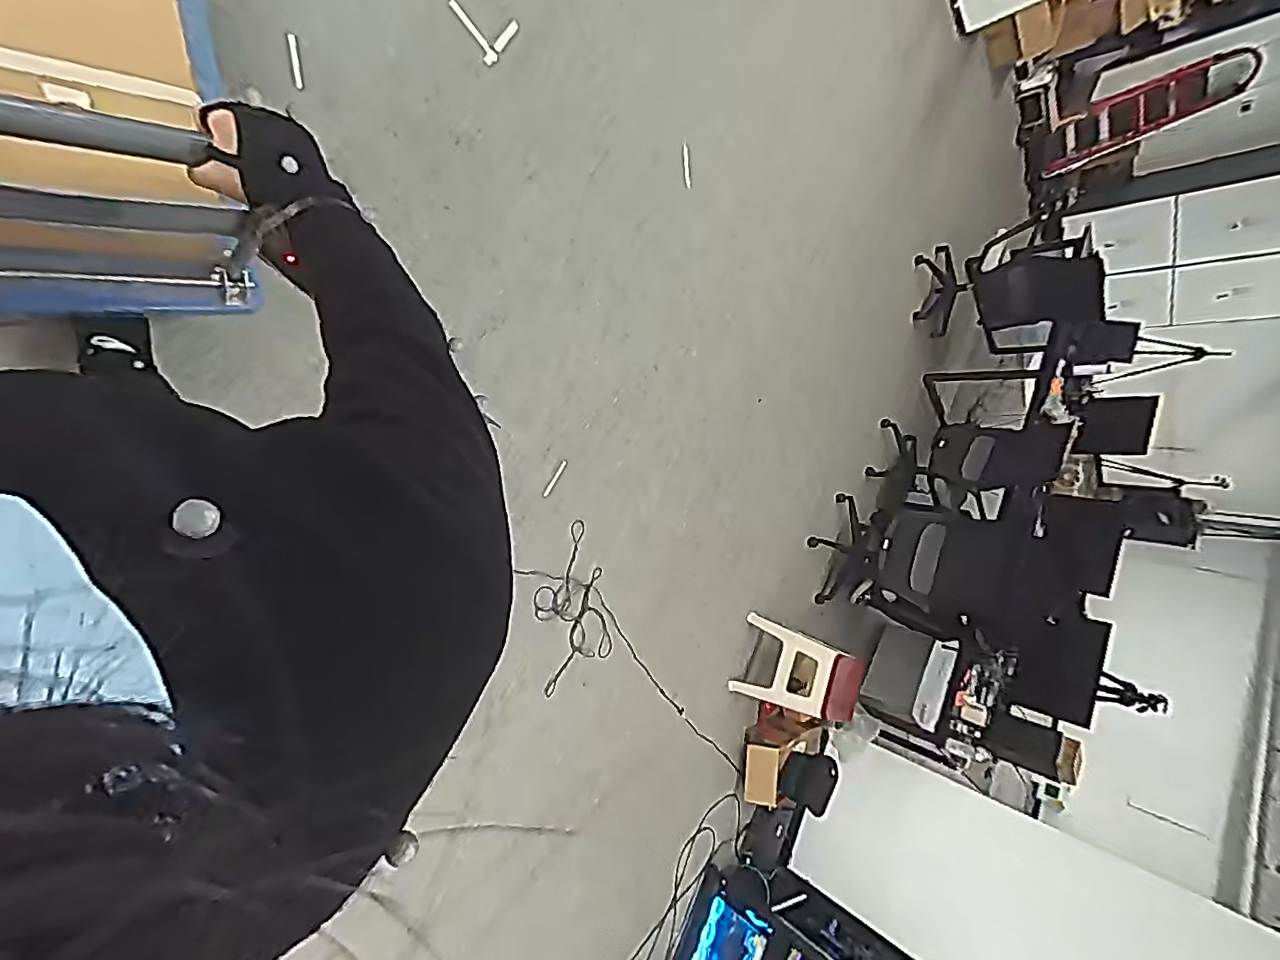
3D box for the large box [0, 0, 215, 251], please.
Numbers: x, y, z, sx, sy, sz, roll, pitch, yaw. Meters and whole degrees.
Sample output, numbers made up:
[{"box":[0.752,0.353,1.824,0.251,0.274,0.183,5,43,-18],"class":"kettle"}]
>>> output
[{"box":[-0.882,-0.520,0.736,0.408,0.320,0.320,-15,106,-43],"class":"large box"}]
